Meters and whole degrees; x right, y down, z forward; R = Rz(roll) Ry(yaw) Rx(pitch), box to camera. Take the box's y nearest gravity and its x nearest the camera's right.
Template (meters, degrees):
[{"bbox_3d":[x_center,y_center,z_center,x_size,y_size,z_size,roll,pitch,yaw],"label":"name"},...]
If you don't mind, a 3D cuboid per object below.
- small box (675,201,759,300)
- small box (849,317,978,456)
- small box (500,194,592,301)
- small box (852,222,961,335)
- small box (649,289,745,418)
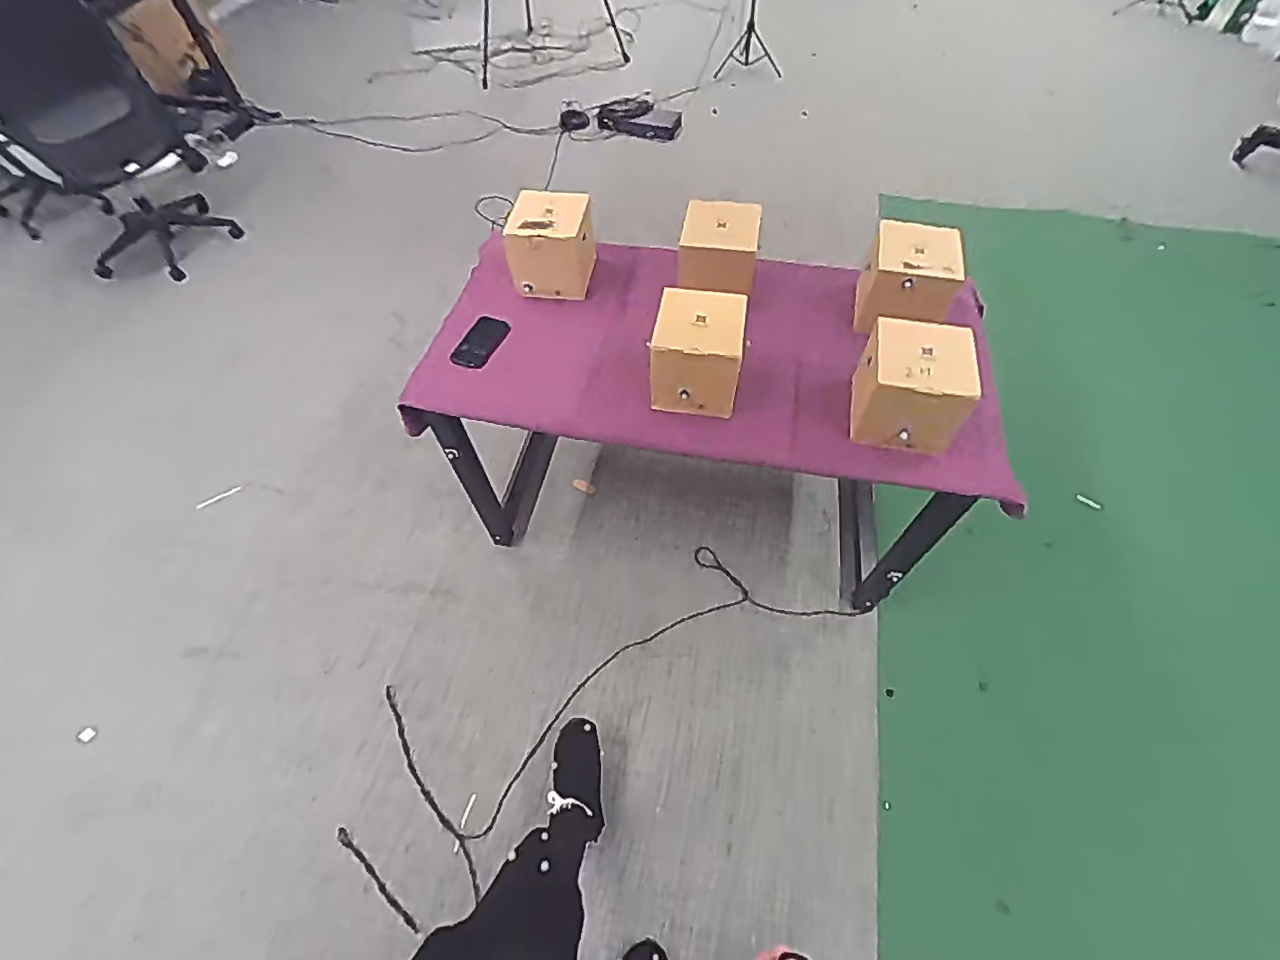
[{"bbox_3d":[0.174,-0.509,1.244,0.168,0.176,0.179,8,58,8],"label":"small box"},{"bbox_3d":[0.497,-0.172,1.007,0.168,0.176,0.179,10,57,10],"label":"small box"},{"bbox_3d":[-0.212,-0.546,1.277,0.168,0.176,0.179,6,56,5],"label":"small box"},{"bbox_3d":[0.572,-0.429,1.178,0.168,0.176,0.179,11,57,10],"label":"small box"},{"bbox_3d":[0.109,-0.249,1.074,0.168,0.176,0.179,7,57,6],"label":"small box"}]
